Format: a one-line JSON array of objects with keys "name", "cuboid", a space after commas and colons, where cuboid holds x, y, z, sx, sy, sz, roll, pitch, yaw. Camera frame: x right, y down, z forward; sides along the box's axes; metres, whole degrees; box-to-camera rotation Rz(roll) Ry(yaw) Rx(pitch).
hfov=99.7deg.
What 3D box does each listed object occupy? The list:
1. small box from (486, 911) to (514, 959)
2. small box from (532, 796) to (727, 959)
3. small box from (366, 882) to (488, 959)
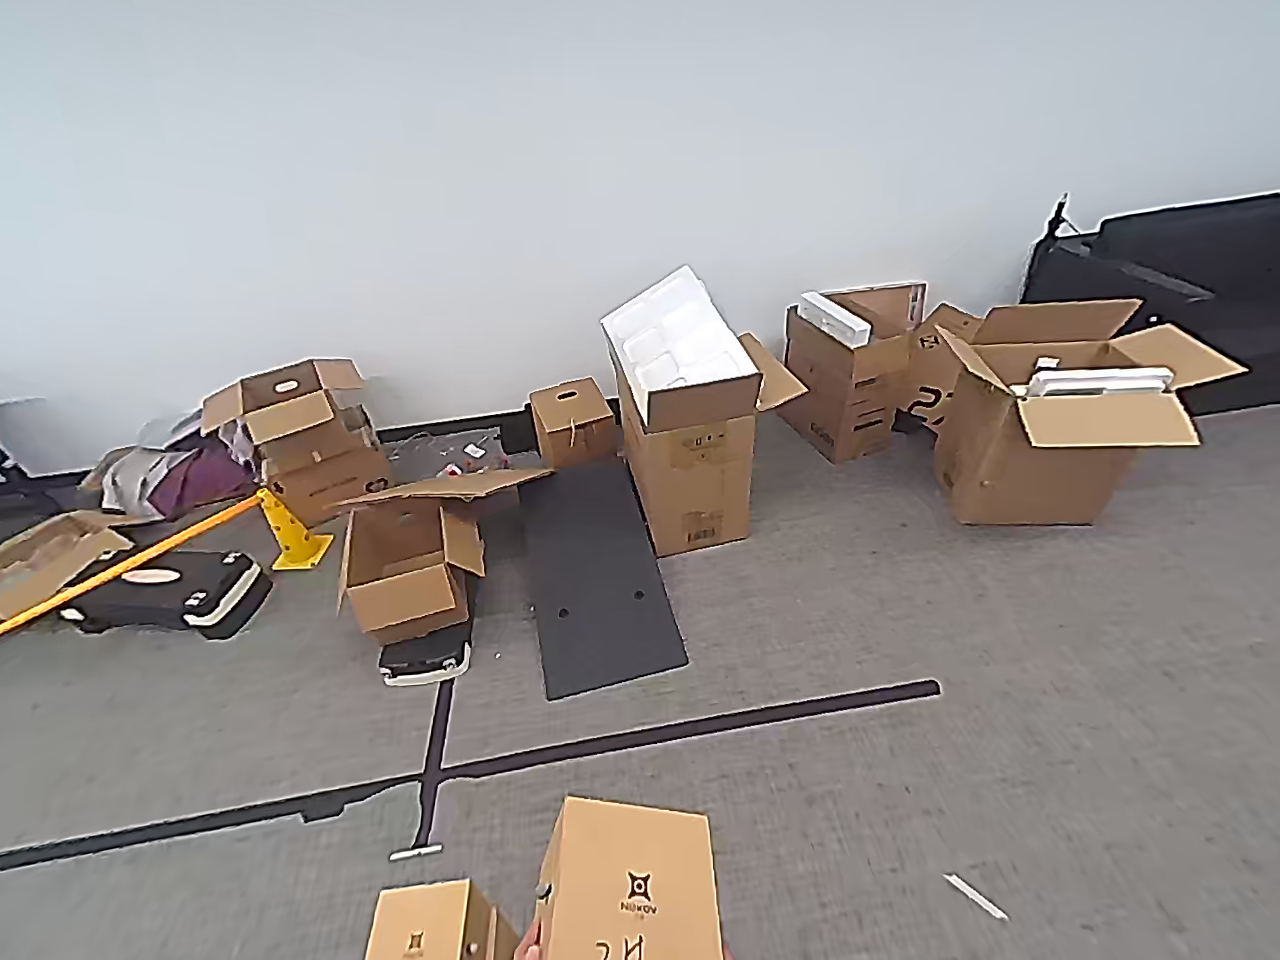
[{"name": "small box", "cuboid": [-0.355, 0.987, 1.063, 0.179, 0.176, 0.168, -7, 39, -4]}, {"name": "small box", "cuboid": [-0.019, 0.470, 0.560, 0.168, 0.176, 0.179, 12, 30, -7]}, {"name": "small box", "cuboid": [-0.376, 0.857, 0.966, 0.168, 0.176, 0.179, -6, 39, -2]}]
